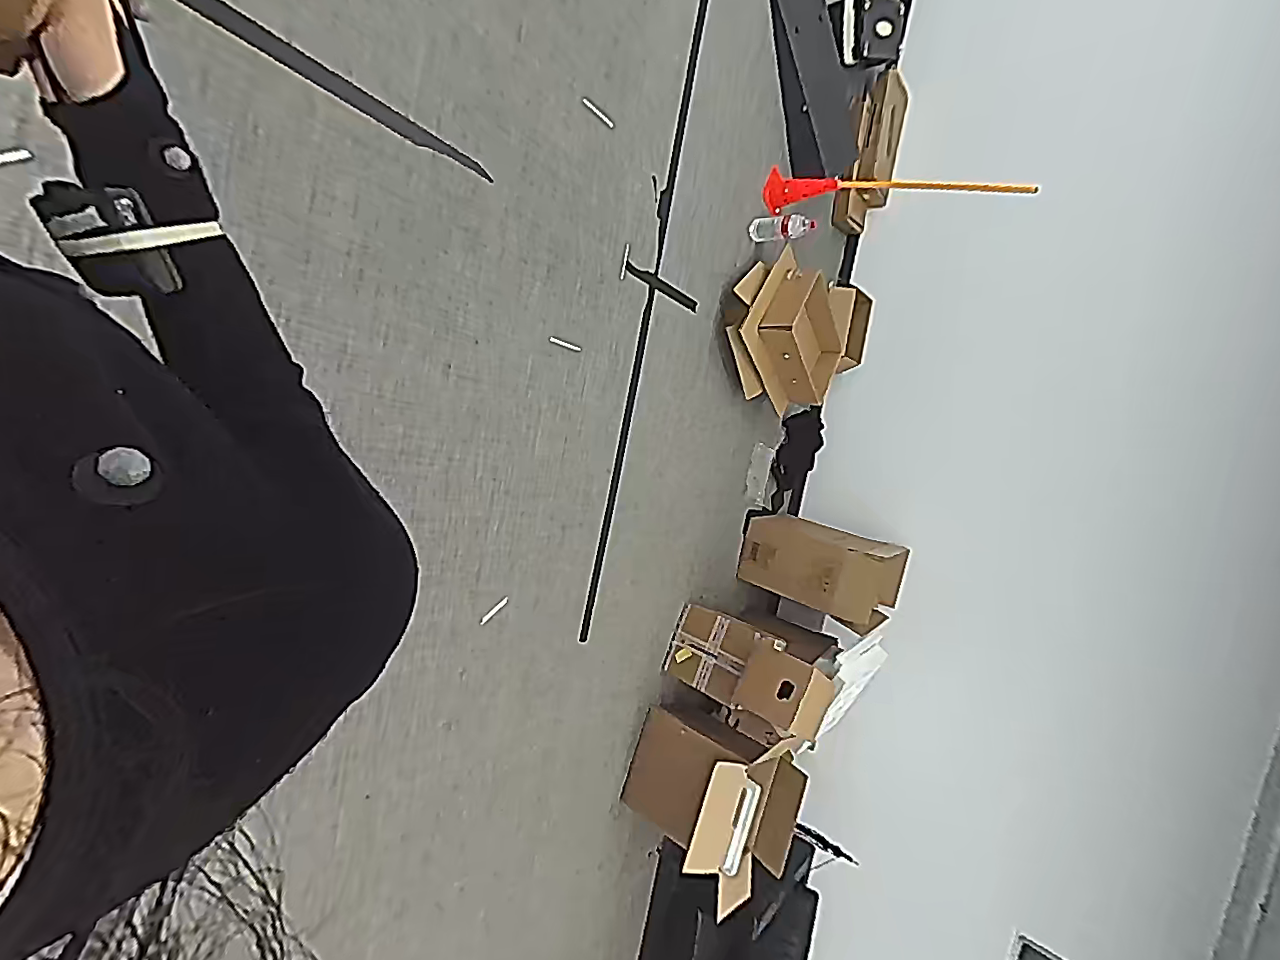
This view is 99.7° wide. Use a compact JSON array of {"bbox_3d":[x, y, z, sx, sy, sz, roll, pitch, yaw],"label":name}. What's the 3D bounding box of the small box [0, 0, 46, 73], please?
[{"bbox_3d":[-0.349,-0.298,0.197,0.168,0.176,0.179,-13,106,-52],"label":"small box"}]
